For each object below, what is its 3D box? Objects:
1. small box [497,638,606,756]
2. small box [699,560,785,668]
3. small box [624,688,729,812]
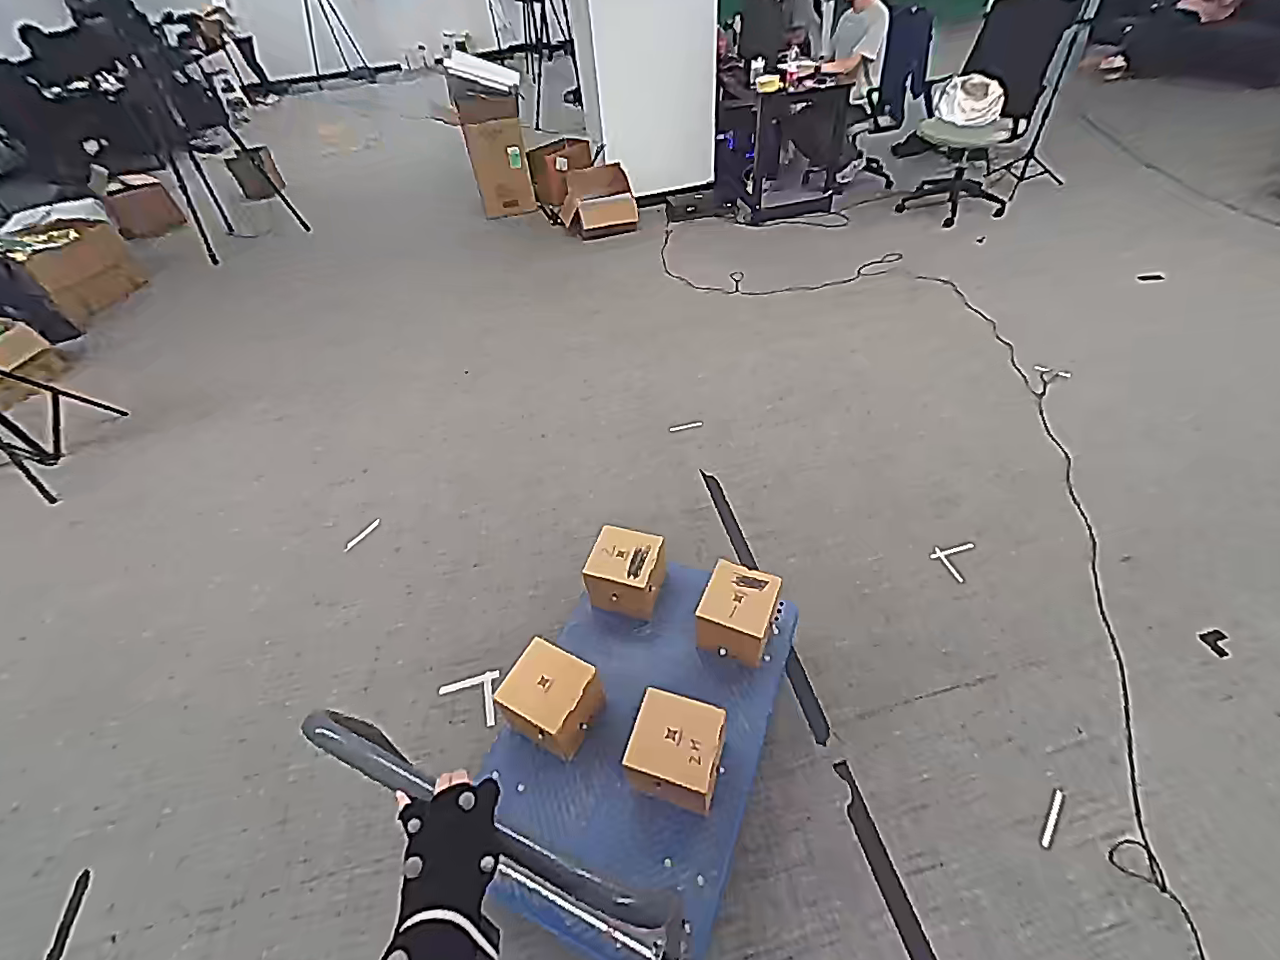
[{"bbox_3d":[-0.197,0.505,1.253,0.179,0.176,0.168,20,51,22],"label":"small box"},{"bbox_3d":[0.253,0.337,1.360,0.168,0.176,0.179,16,51,21],"label":"small box"},{"bbox_3d":[0.083,0.576,1.149,0.179,0.176,0.168,11,49,17],"label":"small box"}]
